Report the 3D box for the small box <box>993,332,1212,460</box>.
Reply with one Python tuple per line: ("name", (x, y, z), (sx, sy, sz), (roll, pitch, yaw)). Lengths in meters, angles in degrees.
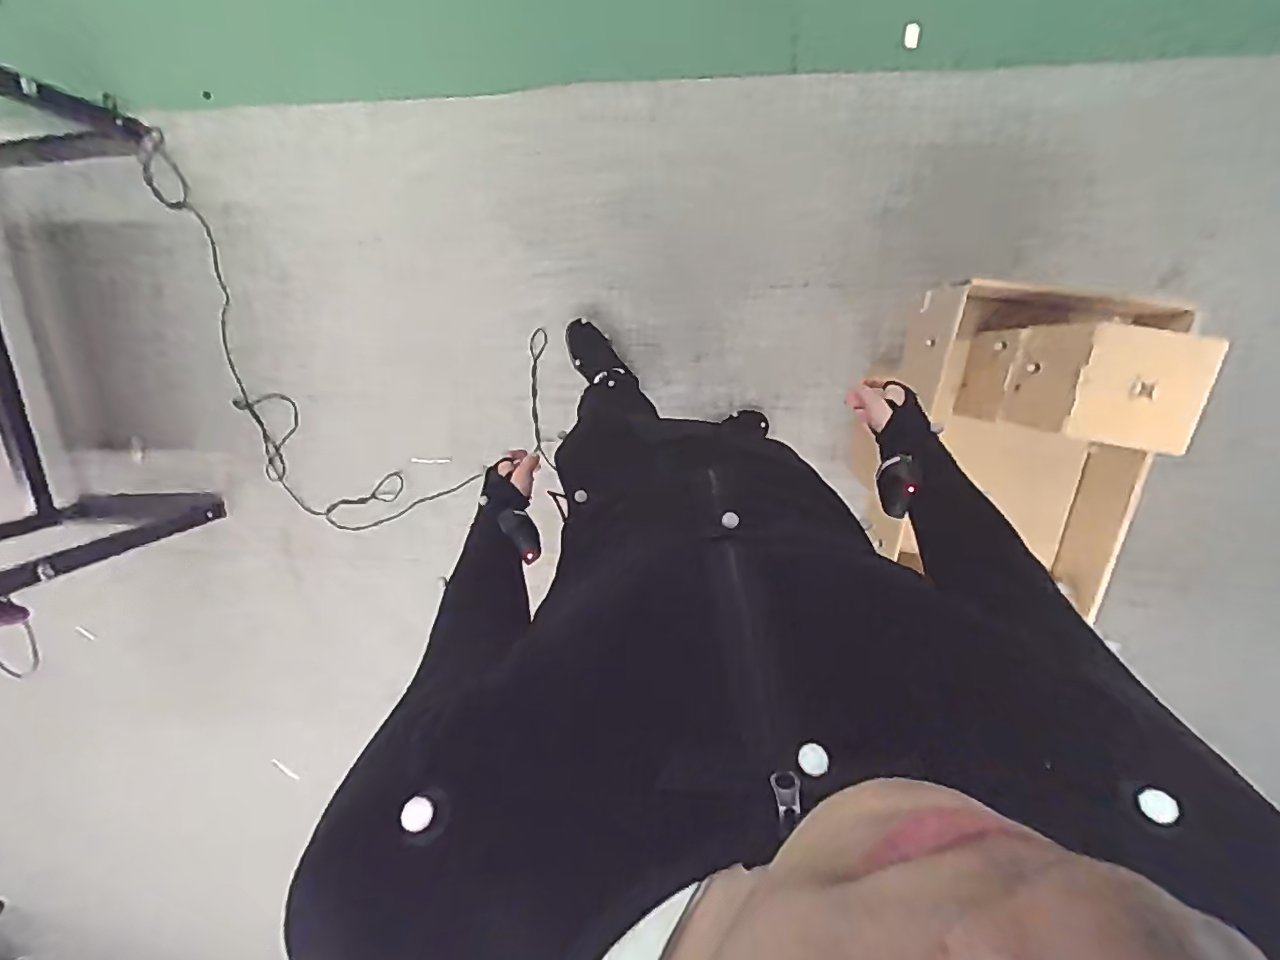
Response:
("small box", (0.716, -0.142, 0.862), (0.179, 0.176, 0.168), (10, 106, 2))
